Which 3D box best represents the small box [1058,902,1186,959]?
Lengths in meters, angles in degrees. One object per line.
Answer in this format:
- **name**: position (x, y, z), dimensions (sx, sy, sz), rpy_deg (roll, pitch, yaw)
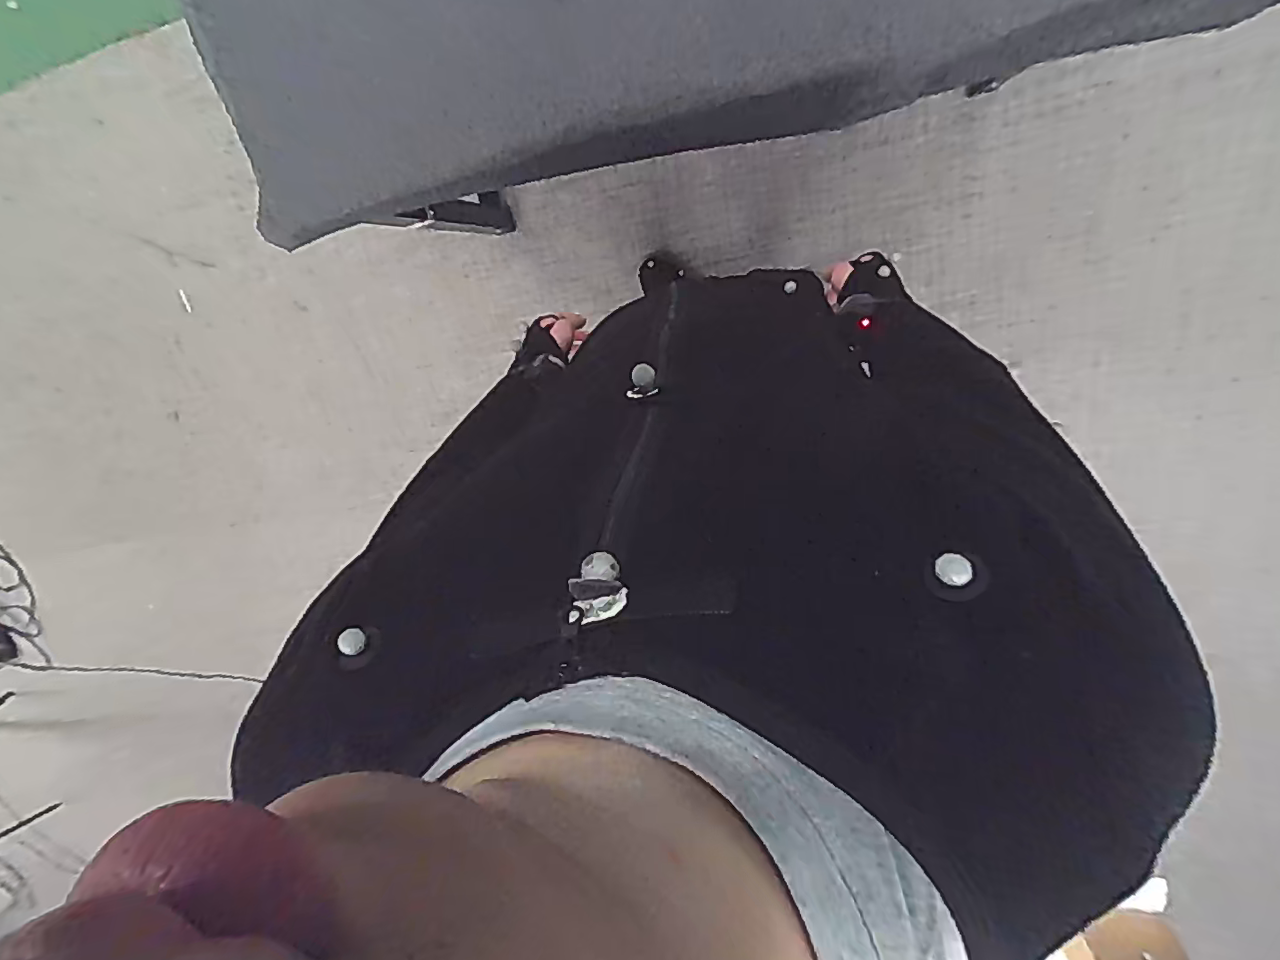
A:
- **small box**: position (1.024, 1.032, 1.140), dimensions (0.179, 0.176, 0.168), rpy_deg (-7, 111, 12)
